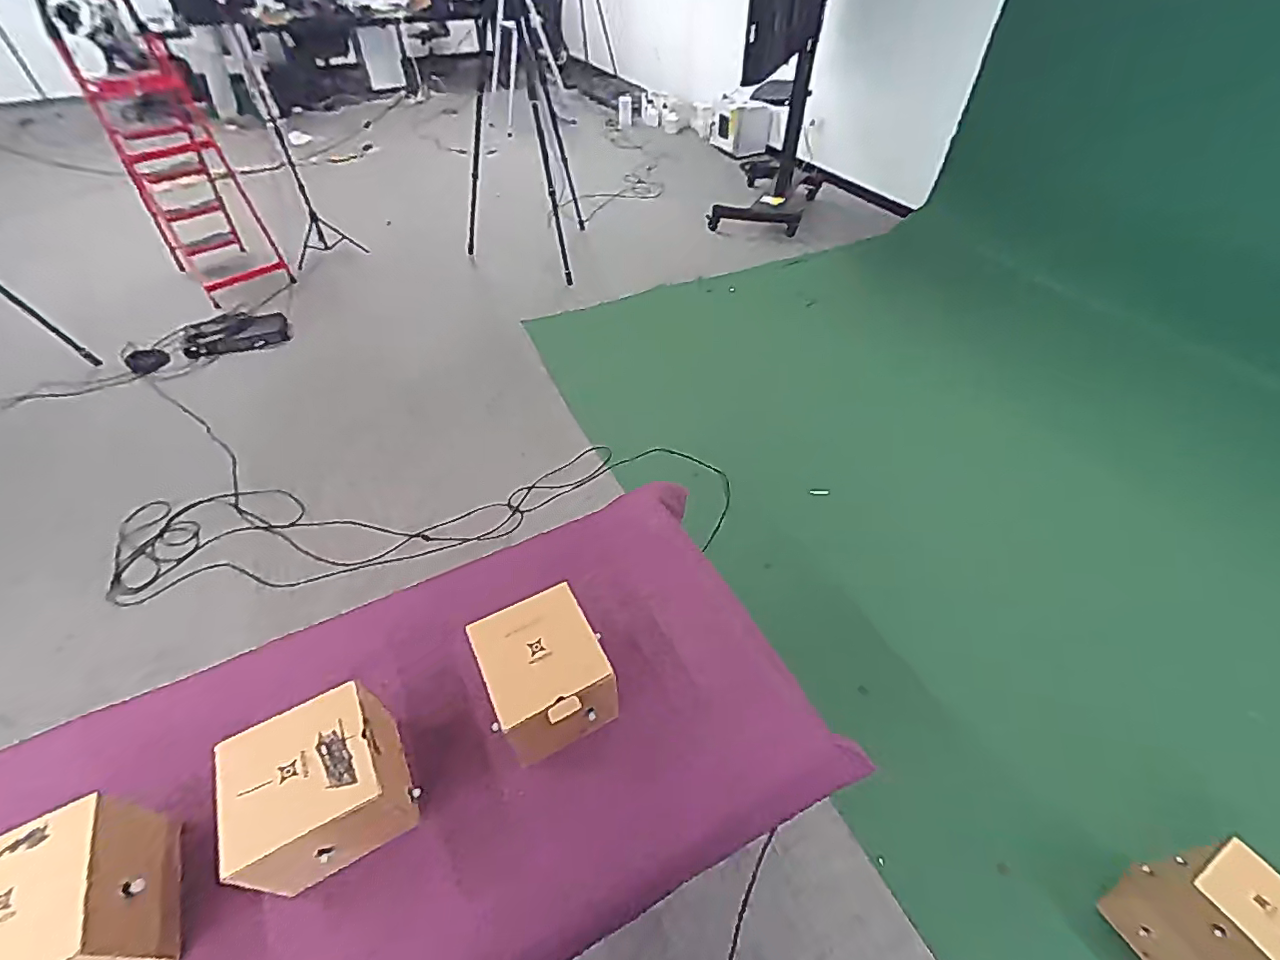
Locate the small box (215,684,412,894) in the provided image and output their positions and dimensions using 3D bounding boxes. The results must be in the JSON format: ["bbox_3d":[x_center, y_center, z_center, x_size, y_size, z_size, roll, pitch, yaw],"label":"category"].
[{"bbox_3d":[-0.426,0.414,0.727,0.179,0.176,0.168,-23,51,-19],"label":"small box"}]

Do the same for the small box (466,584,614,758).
[{"bbox_3d":[-0.147,0.301,0.834,0.168,0.176,0.179,-22,50,-19],"label":"small box"}]

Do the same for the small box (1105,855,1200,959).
[{"bbox_3d":[1.188,0.977,1.192,0.179,0.176,0.168,-21,50,-20],"label":"small box"}]

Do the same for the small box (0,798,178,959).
[{"bbox_3d":[-0.682,0.516,0.631,0.168,0.176,0.179,-22,51,-21],"label":"small box"}]

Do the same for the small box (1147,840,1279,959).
[{"bbox_3d":[1.183,0.864,1.073,0.168,0.176,0.179,-22,50,-19],"label":"small box"}]
